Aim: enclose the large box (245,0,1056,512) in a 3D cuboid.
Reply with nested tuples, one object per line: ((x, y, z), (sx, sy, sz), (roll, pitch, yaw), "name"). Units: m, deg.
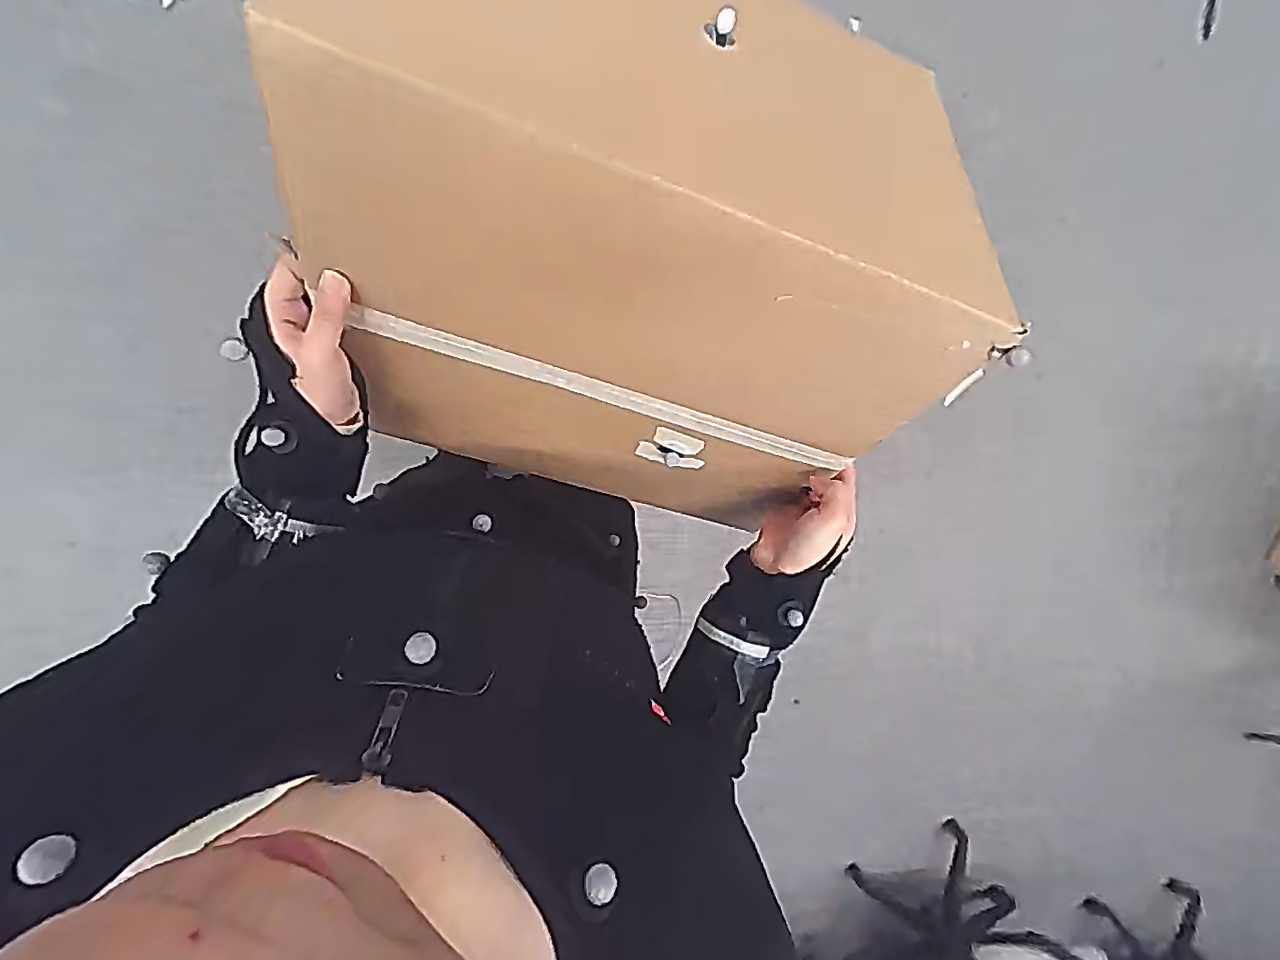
((0.002, -0.209, 0.445), (0.408, 0.320, 0.320), (14, 60, -13), "large box")
